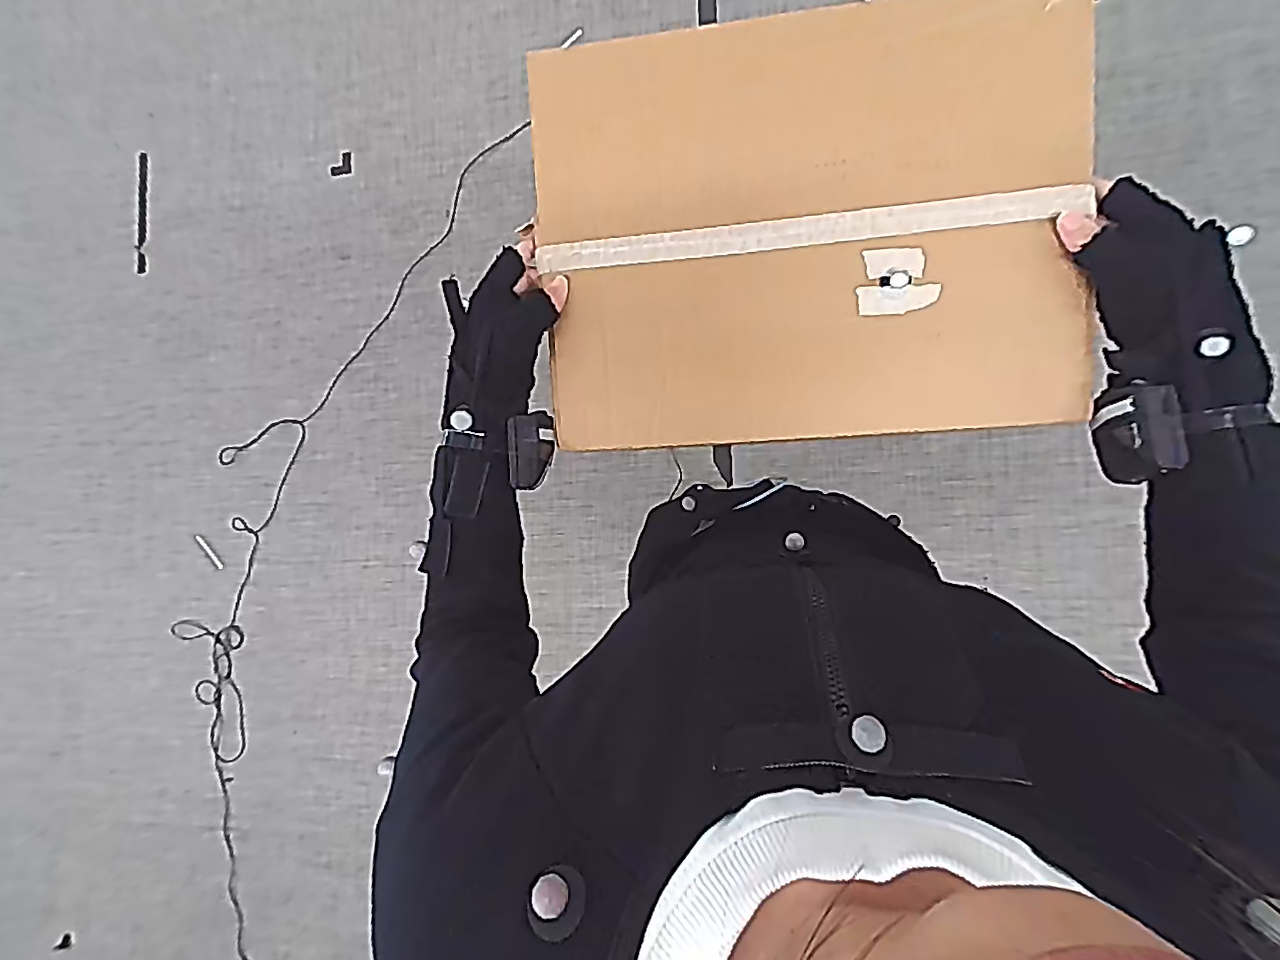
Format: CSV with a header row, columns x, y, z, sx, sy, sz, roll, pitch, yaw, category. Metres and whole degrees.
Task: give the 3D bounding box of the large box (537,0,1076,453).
x,y,z,sx,sy,sz,roll,pitch,yaw,category
0.139,-0.203,0.571,0.408,0.320,0.320,-4,95,7,large box
